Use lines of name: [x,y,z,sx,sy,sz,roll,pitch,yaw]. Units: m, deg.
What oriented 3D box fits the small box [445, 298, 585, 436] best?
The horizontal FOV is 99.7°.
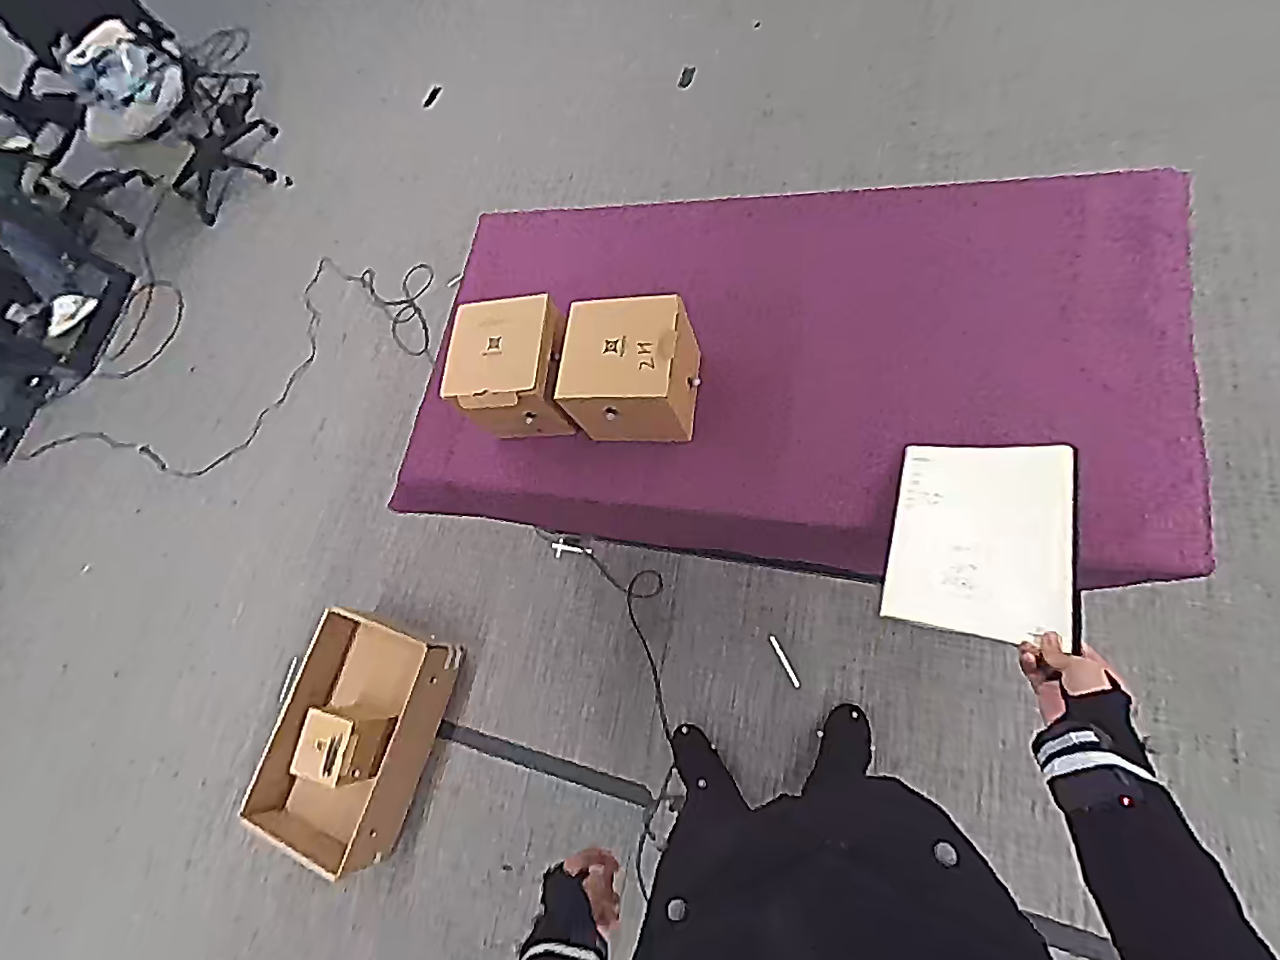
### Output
small box: [-0.203,-0.182,0.928,0.168,0.176,0.179,-1,71,16]
